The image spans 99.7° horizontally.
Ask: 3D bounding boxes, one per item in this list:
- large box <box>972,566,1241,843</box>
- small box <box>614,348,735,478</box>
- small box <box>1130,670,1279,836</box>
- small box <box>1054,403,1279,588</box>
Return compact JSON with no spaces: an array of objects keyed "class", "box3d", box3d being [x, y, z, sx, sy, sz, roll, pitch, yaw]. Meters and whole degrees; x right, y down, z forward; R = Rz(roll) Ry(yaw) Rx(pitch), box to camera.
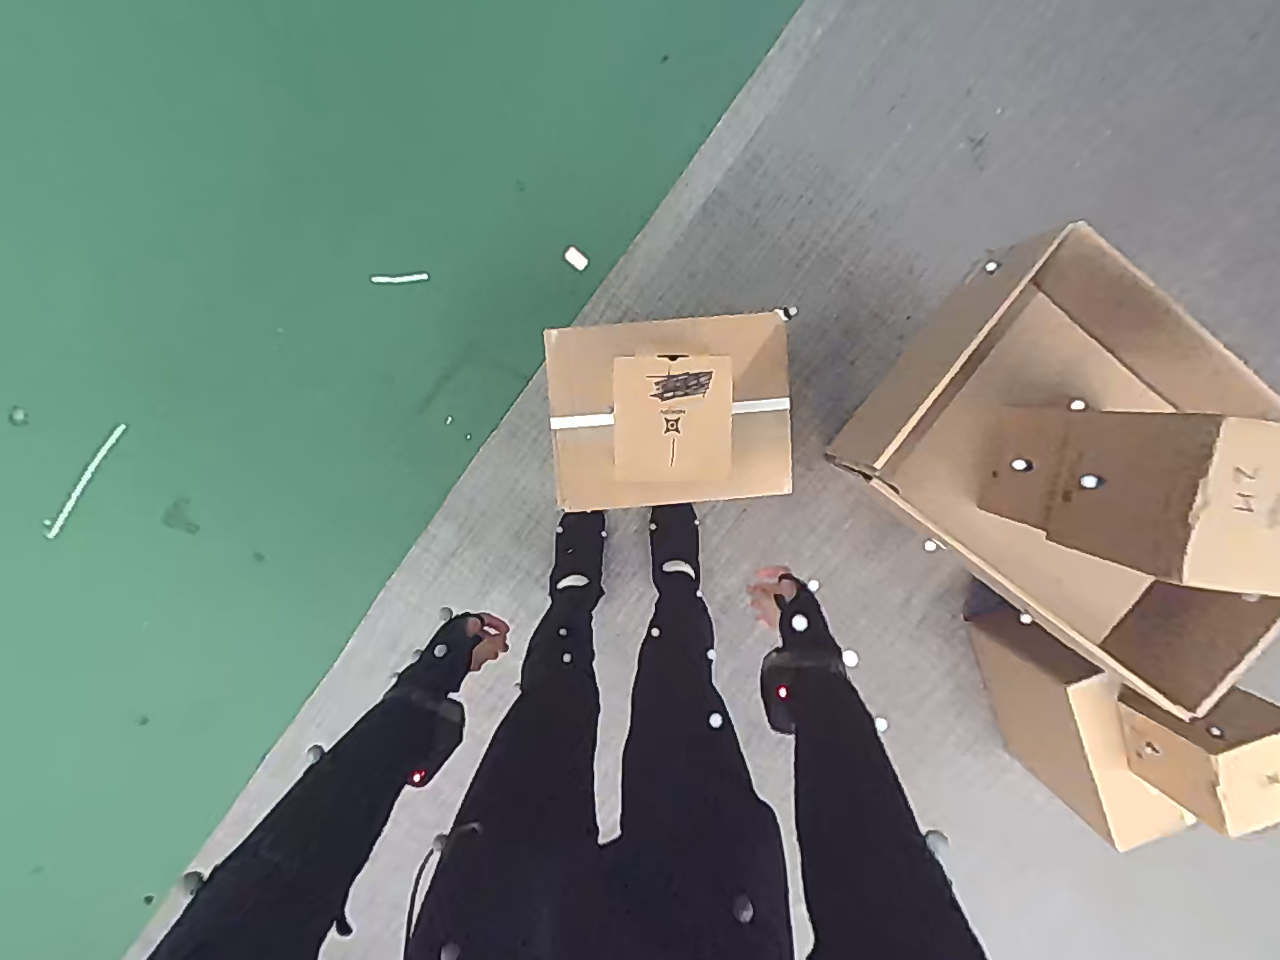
[{"class":"large box","box3d":[1.019,0.464,1.187,0.320,0.320,0.408,-23,101,2]},{"class":"small box","box3d":[0.044,-0.101,0.815,0.168,0.176,0.179,-1,99,-1]},{"class":"small box","box3d":[1.018,0.460,0.939,0.179,0.176,0.168,-19,100,0]},{"class":"small box","box3d":[0.604,0.009,0.578,0.179,0.176,0.168,7,98,-2]}]
